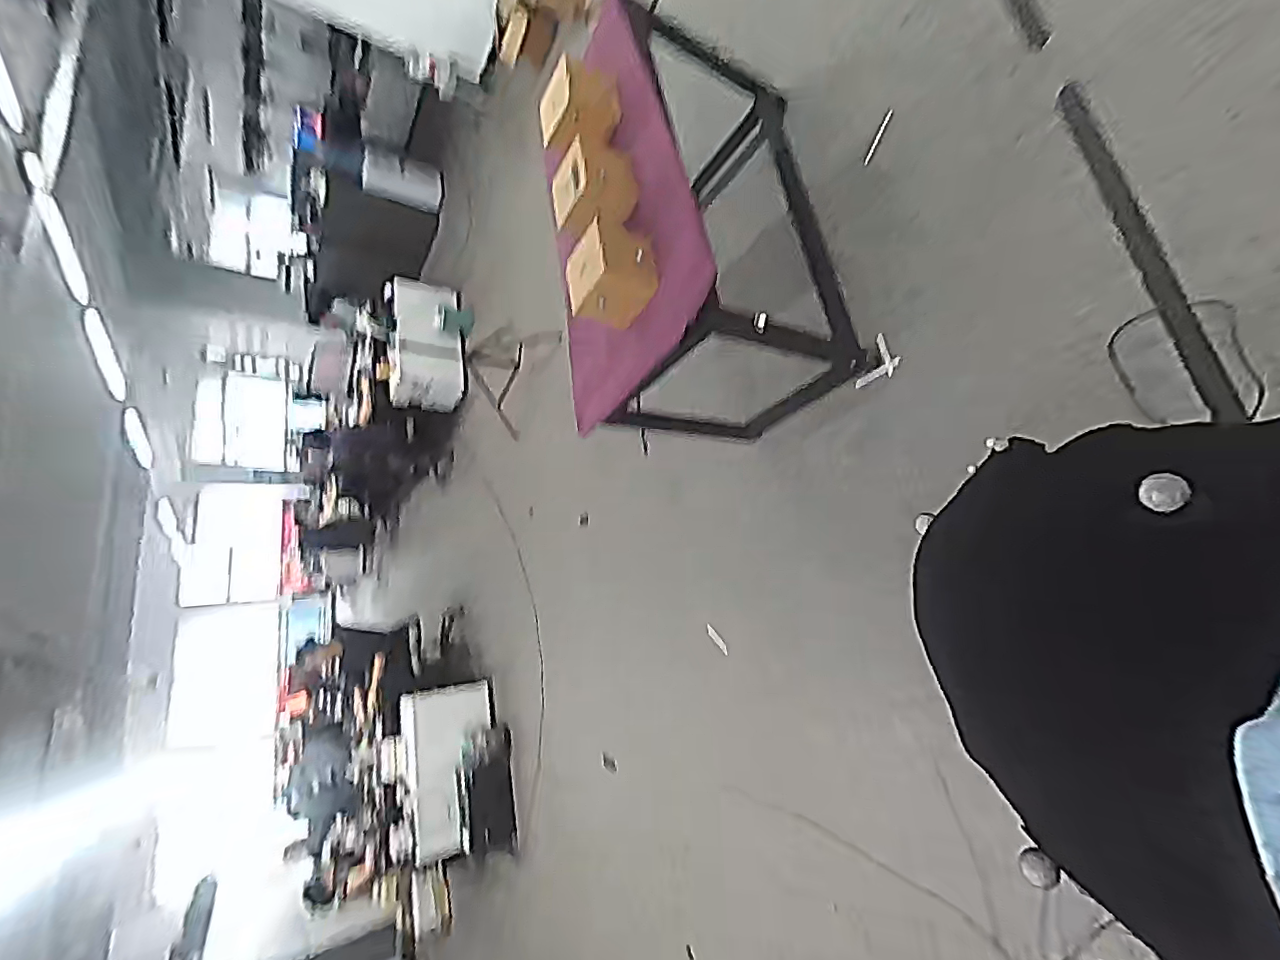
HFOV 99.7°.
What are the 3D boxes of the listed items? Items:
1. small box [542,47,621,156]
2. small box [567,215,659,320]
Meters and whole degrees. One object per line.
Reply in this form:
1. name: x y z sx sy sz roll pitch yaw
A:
1. small box: -0.176 -1.110 1.604 0.179 0.176 0.168 -28 66 52
2. small box: -0.073 -0.546 1.419 0.179 0.176 0.168 -34 60 48
